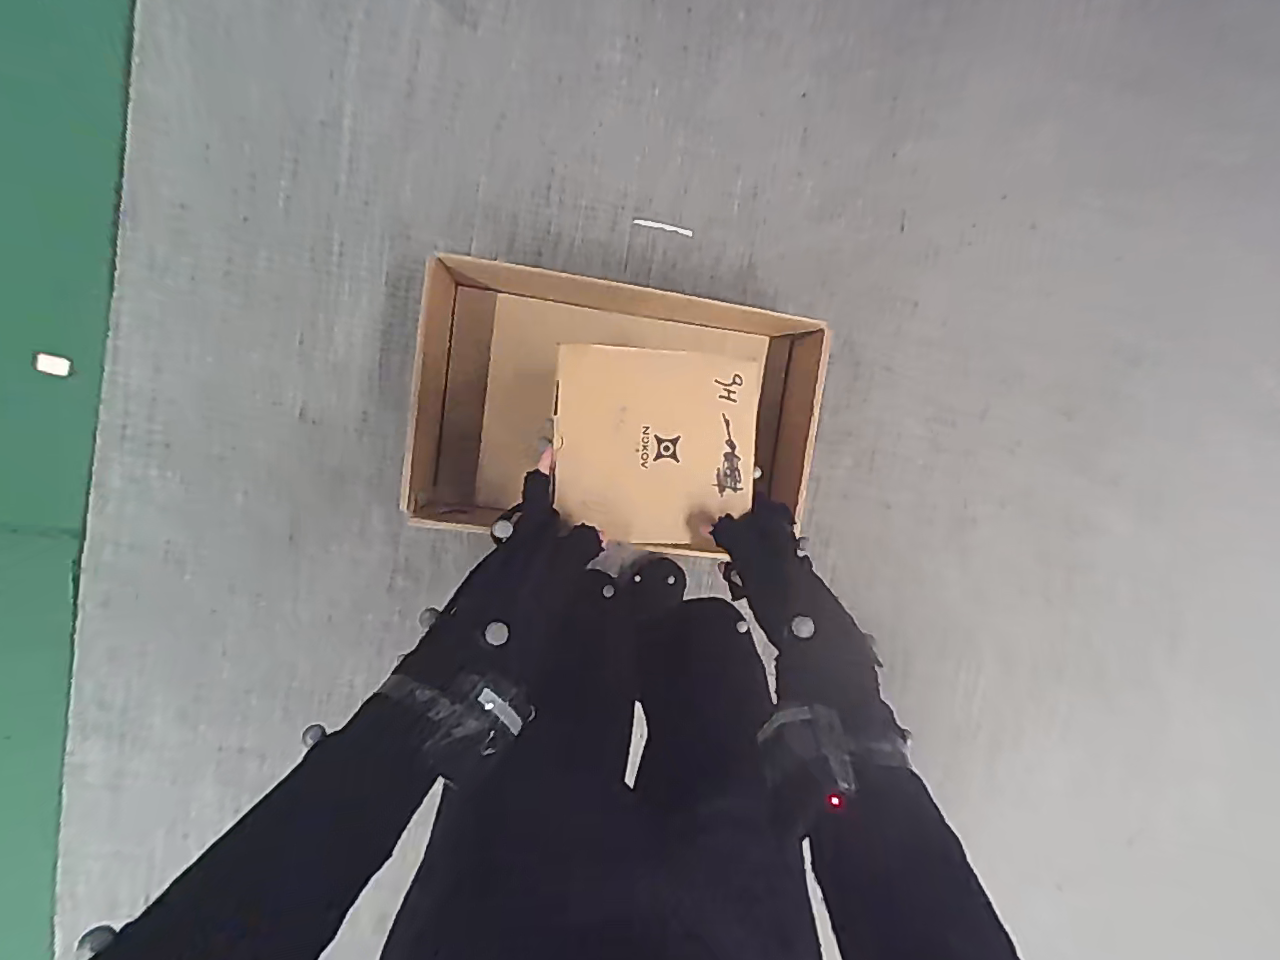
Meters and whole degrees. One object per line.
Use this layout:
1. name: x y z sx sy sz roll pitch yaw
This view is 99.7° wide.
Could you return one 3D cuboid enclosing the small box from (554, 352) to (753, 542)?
1. small box: 0.003 -0.026 0.549 0.179 0.176 0.168 0 90 -9
